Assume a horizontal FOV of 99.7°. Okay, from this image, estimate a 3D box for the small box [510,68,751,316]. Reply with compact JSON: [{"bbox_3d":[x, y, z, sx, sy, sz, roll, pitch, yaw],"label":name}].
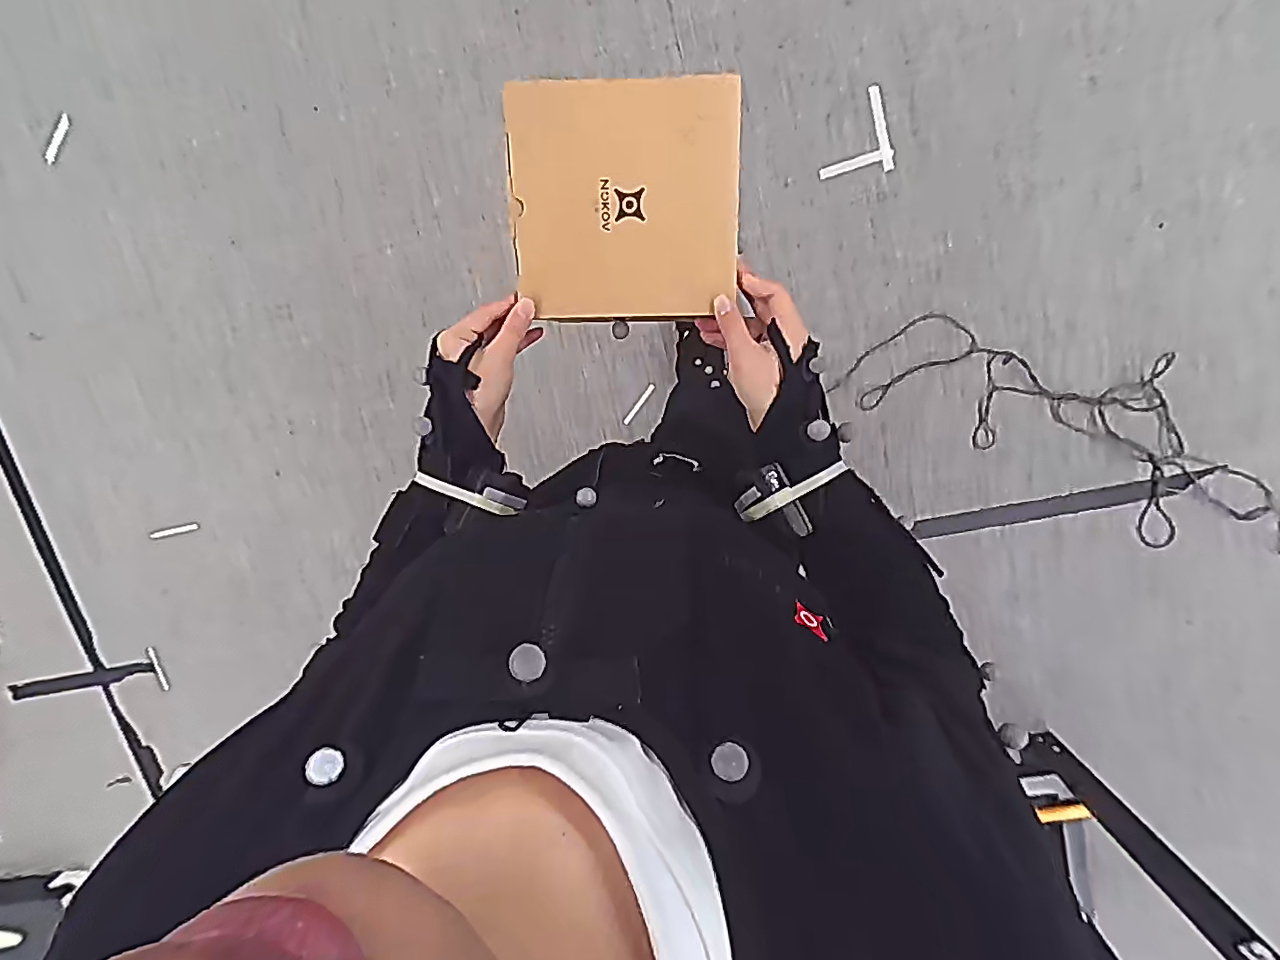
[{"bbox_3d":[-0.003,-0.236,0.484,0.179,0.176,0.168,0,105,4],"label":"small box"}]
